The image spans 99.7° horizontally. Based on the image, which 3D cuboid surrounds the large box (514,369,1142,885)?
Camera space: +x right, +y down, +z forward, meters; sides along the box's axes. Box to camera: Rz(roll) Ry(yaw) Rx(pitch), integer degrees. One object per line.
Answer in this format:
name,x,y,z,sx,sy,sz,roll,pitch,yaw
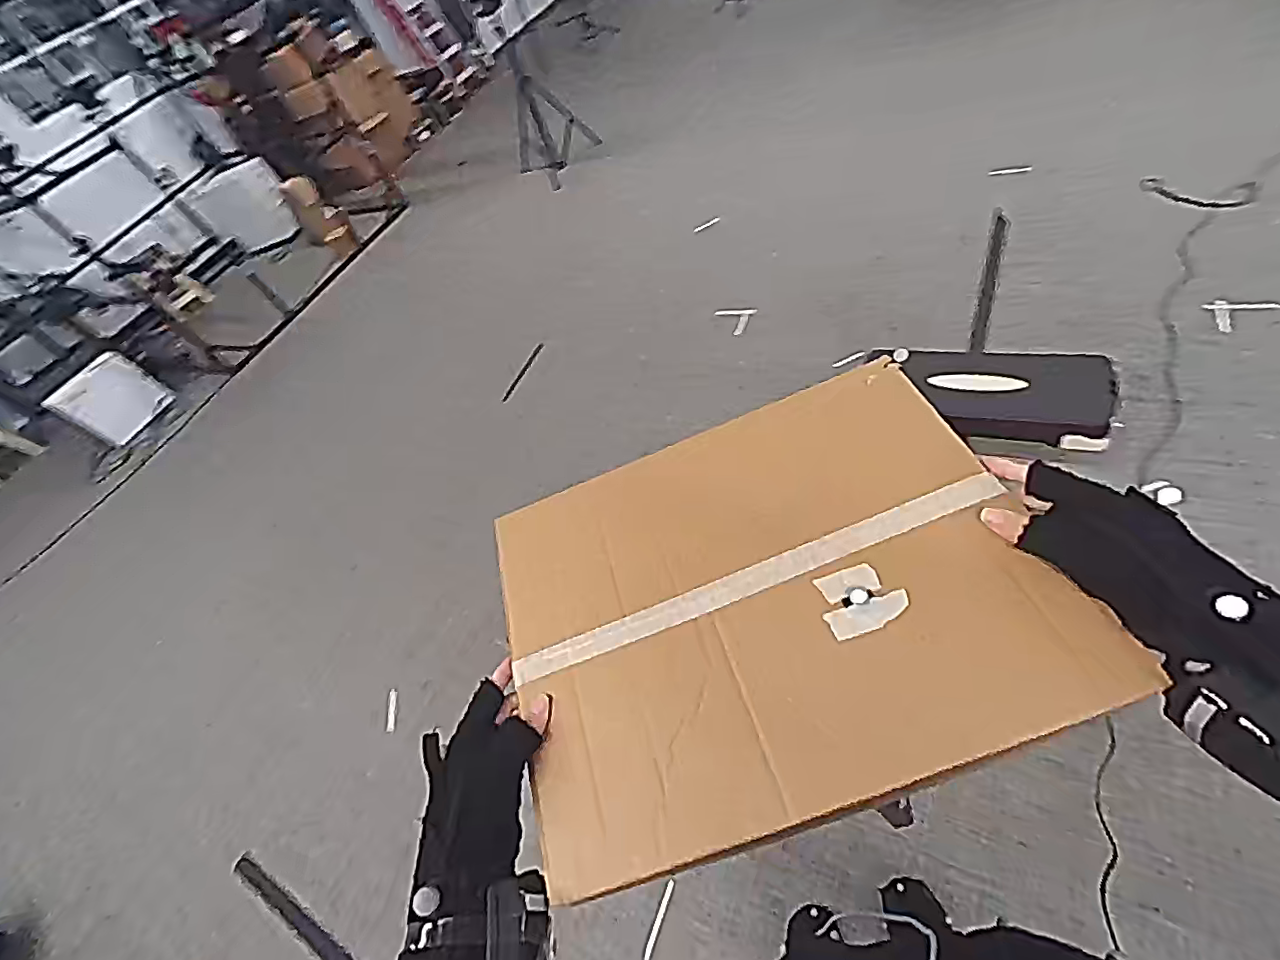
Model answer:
large box,0.135,0.162,0.557,0.408,0.320,0.320,-22,54,4
